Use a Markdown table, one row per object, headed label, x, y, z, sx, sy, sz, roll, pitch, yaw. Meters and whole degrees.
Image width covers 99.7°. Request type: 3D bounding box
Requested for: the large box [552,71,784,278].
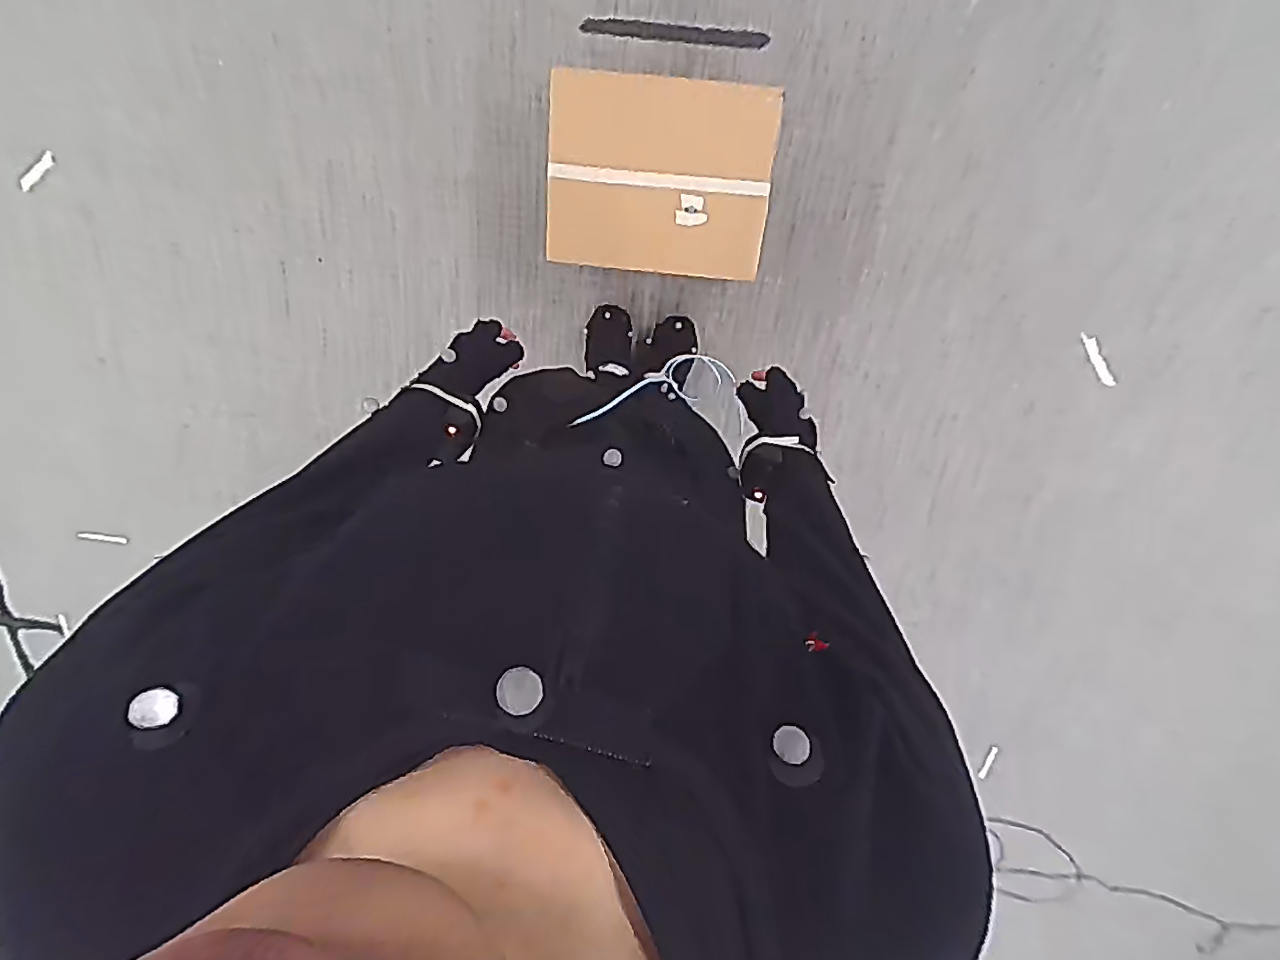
| label | x | y | z | sx | sy | sz | roll | pitch | yaw |
| --- | --- | --- | --- | --- | --- | --- | --- | --- | --- |
| large box | 0.045 | -0.601 | 1.124 | 0.408 | 0.320 | 0.320 | 6 | 113 | 1 |
